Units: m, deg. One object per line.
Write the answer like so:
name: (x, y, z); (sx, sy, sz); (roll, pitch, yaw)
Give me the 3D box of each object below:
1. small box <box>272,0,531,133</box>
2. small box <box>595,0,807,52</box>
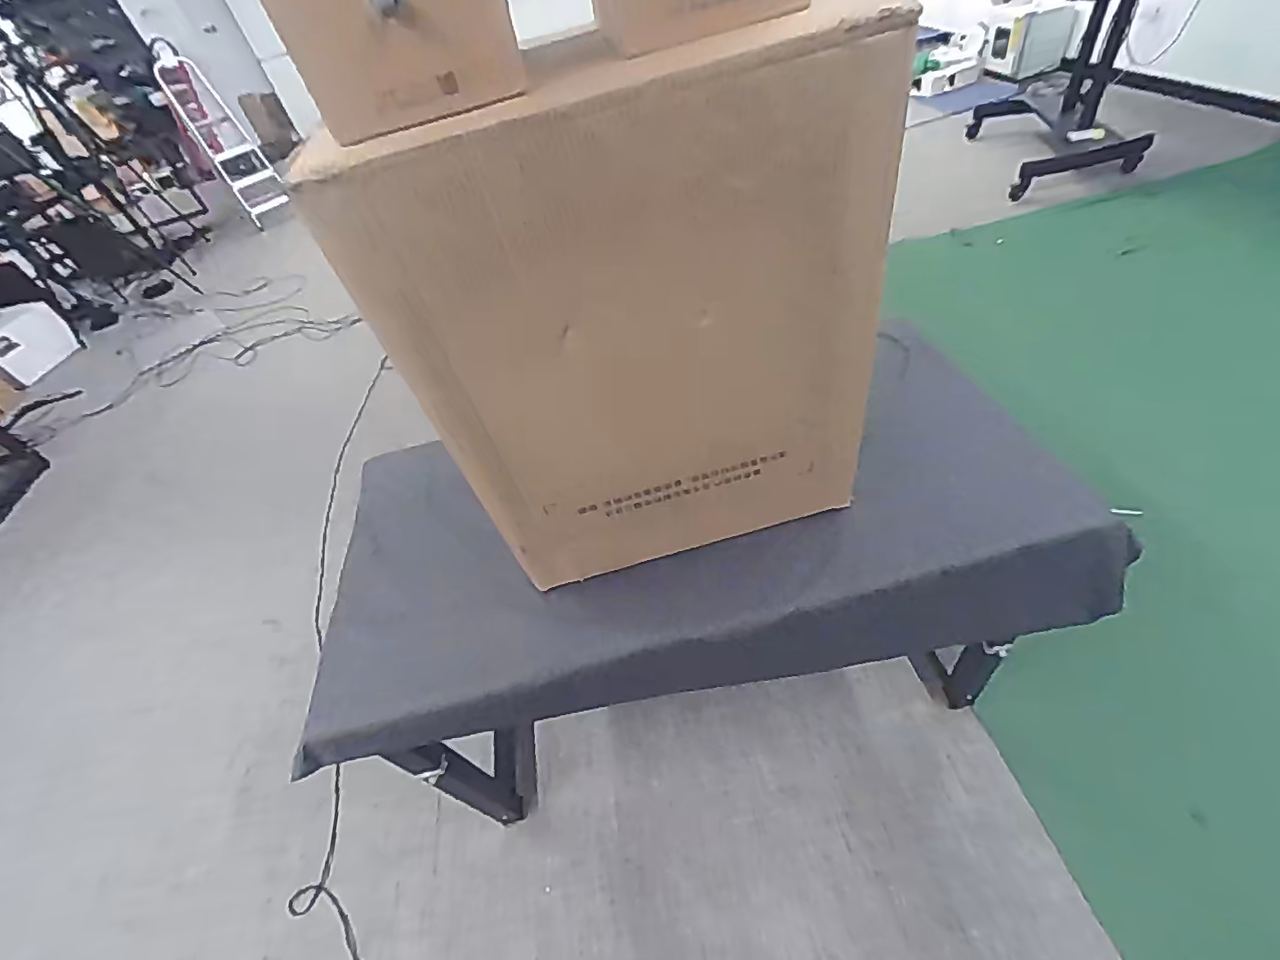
small box: (-0.194, -0.410, 0.440); (0.168, 0.176, 0.179); (-15, 49, 0)
small box: (0.039, -0.486, 0.453); (0.168, 0.176, 0.179); (-14, 47, -1)
